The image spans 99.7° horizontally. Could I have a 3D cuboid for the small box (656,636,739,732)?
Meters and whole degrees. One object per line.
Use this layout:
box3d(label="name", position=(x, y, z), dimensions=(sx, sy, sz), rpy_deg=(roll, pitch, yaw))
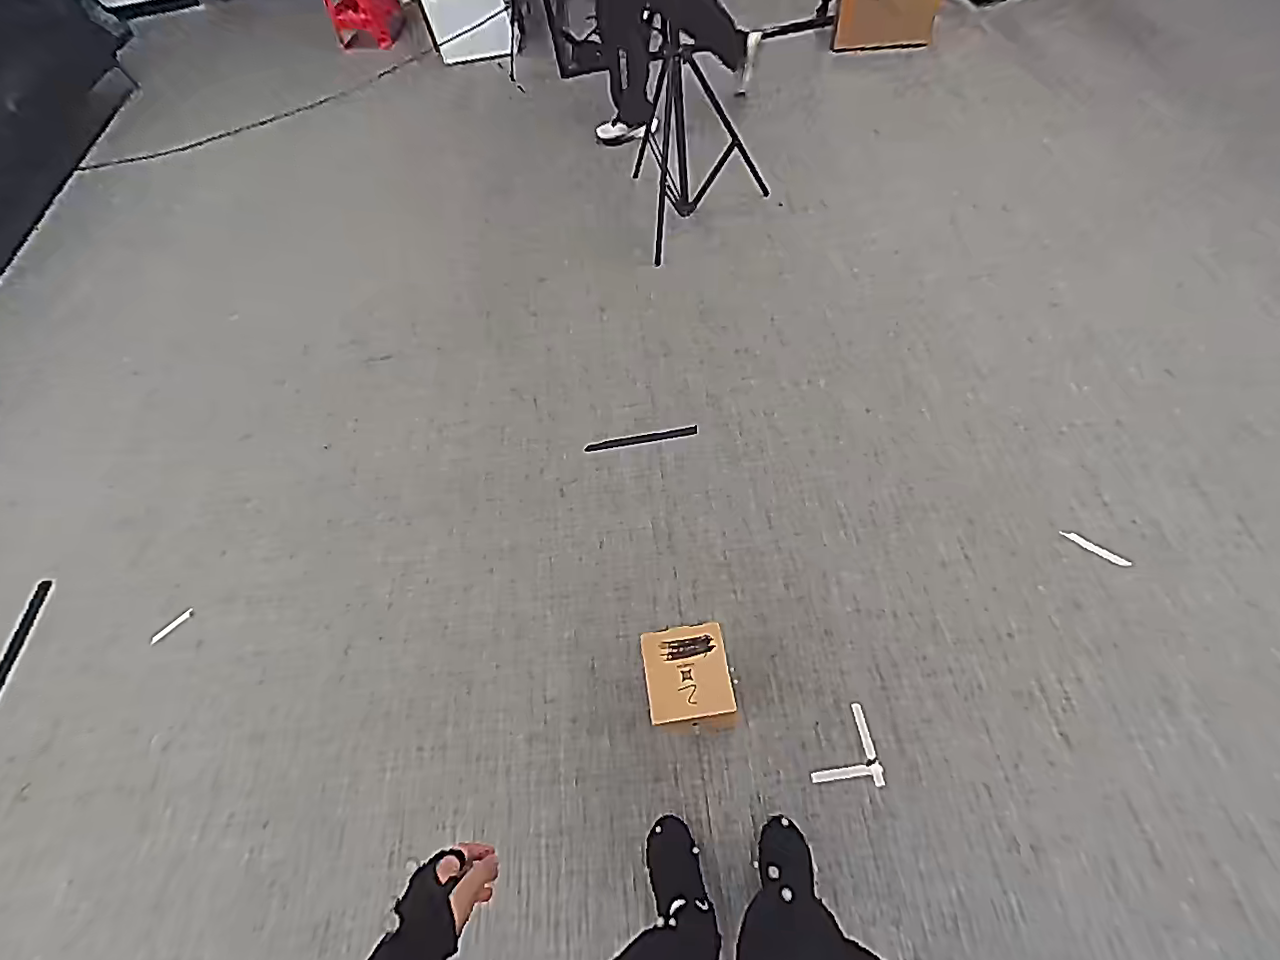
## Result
box3d(label="small box", position=(0.134, 0.485, 1.279), dimensions=(0.168, 0.176, 0.179), rpy_deg=(-10, 60, 3))
